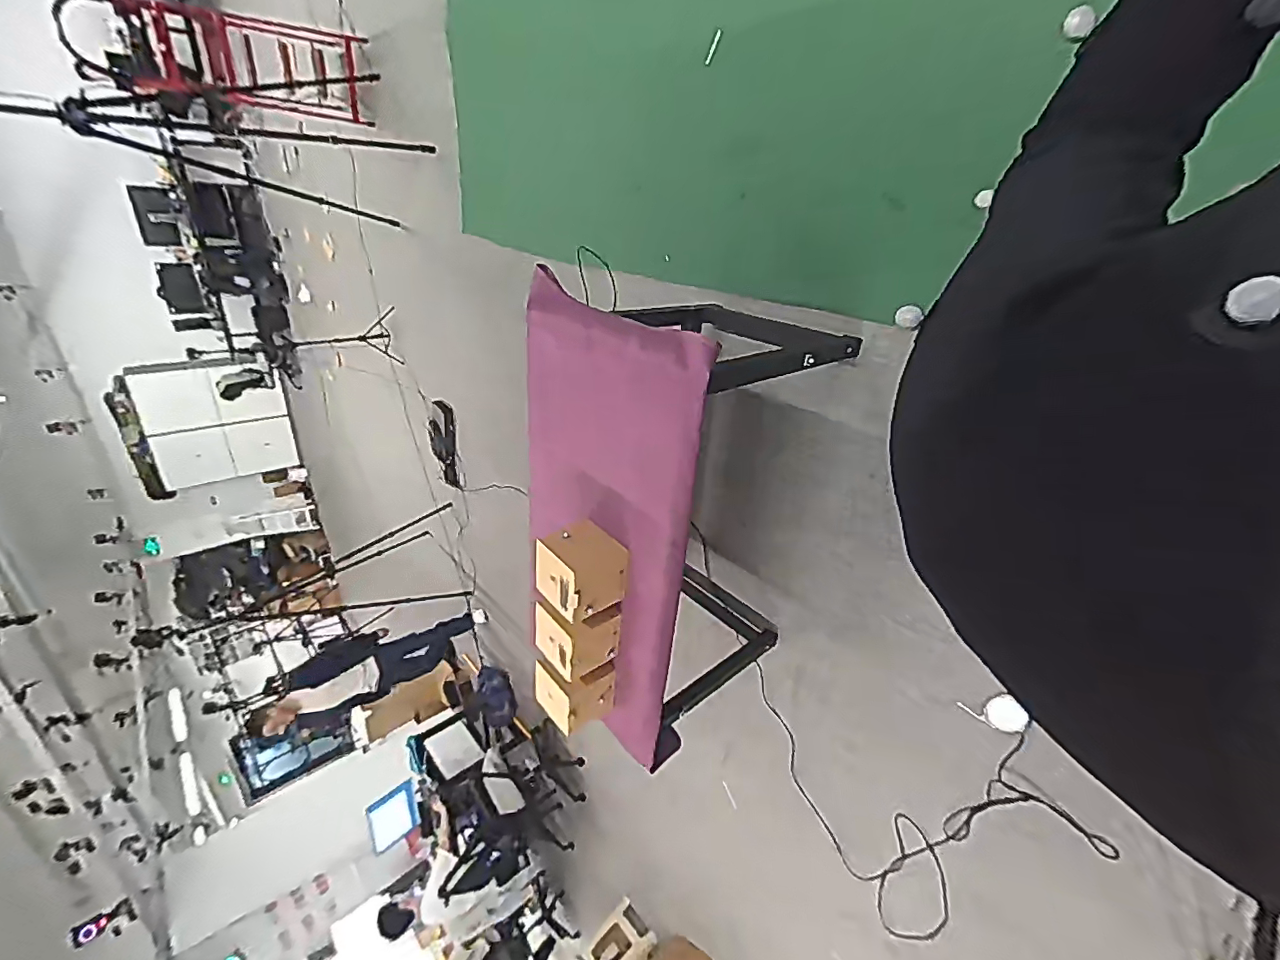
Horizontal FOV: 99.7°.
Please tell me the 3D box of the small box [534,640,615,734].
[{"bbox_3d":[-0.198,0.606,1.614,0.179,0.176,0.168,32,127,39],"label":"small box"}]
